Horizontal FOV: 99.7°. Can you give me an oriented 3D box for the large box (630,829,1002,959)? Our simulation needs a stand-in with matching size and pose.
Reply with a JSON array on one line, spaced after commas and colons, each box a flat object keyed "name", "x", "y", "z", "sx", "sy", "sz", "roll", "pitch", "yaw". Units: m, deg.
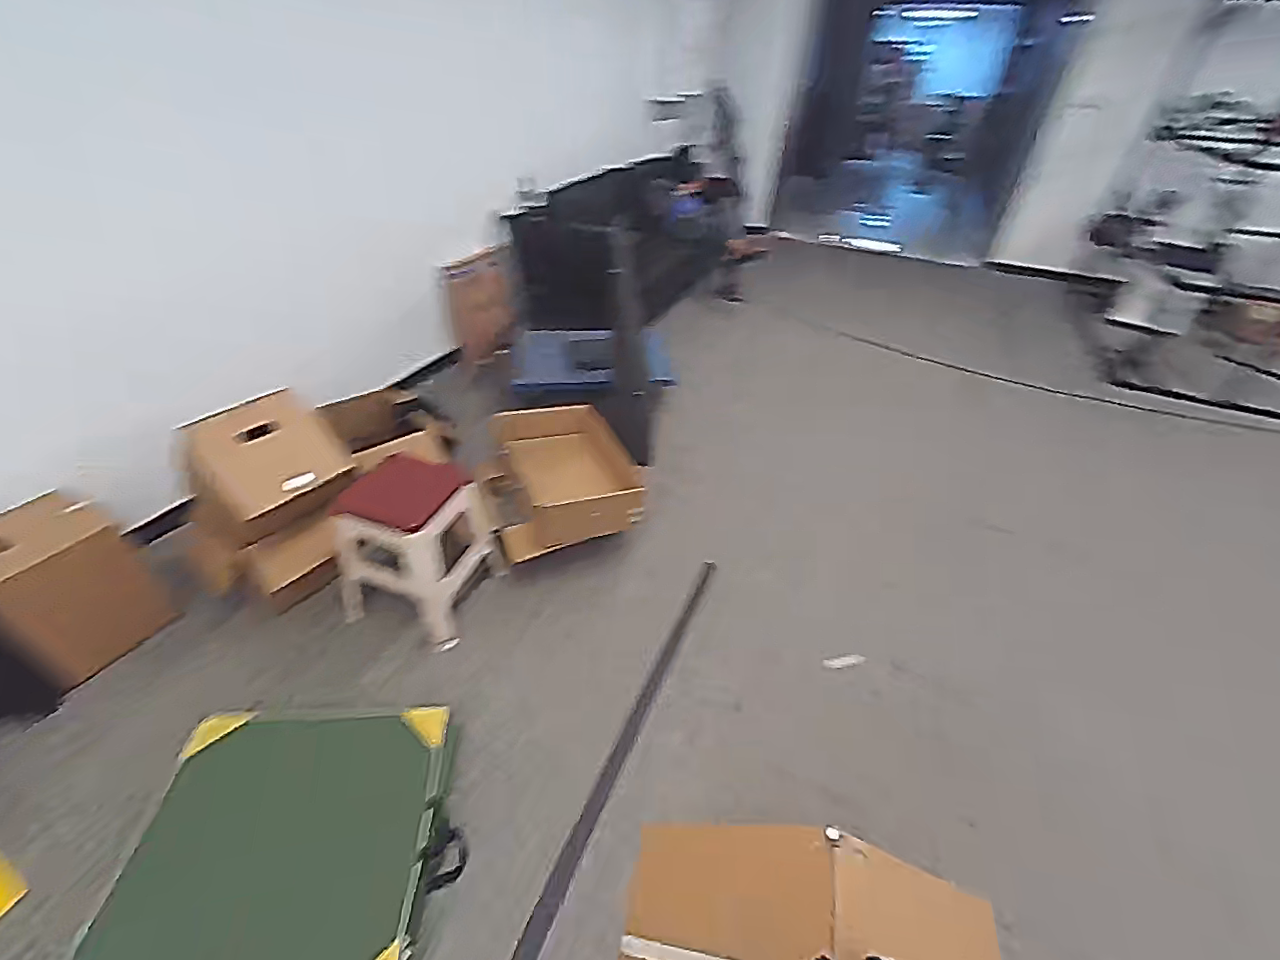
[{"name": "large box", "x": 0.222, "y": 0.701, "z": 0.736, "sx": 0.320, "sy": 0.408, "sz": 0.320, "roll": 33, "pitch": 48, "yaw": -19}]
